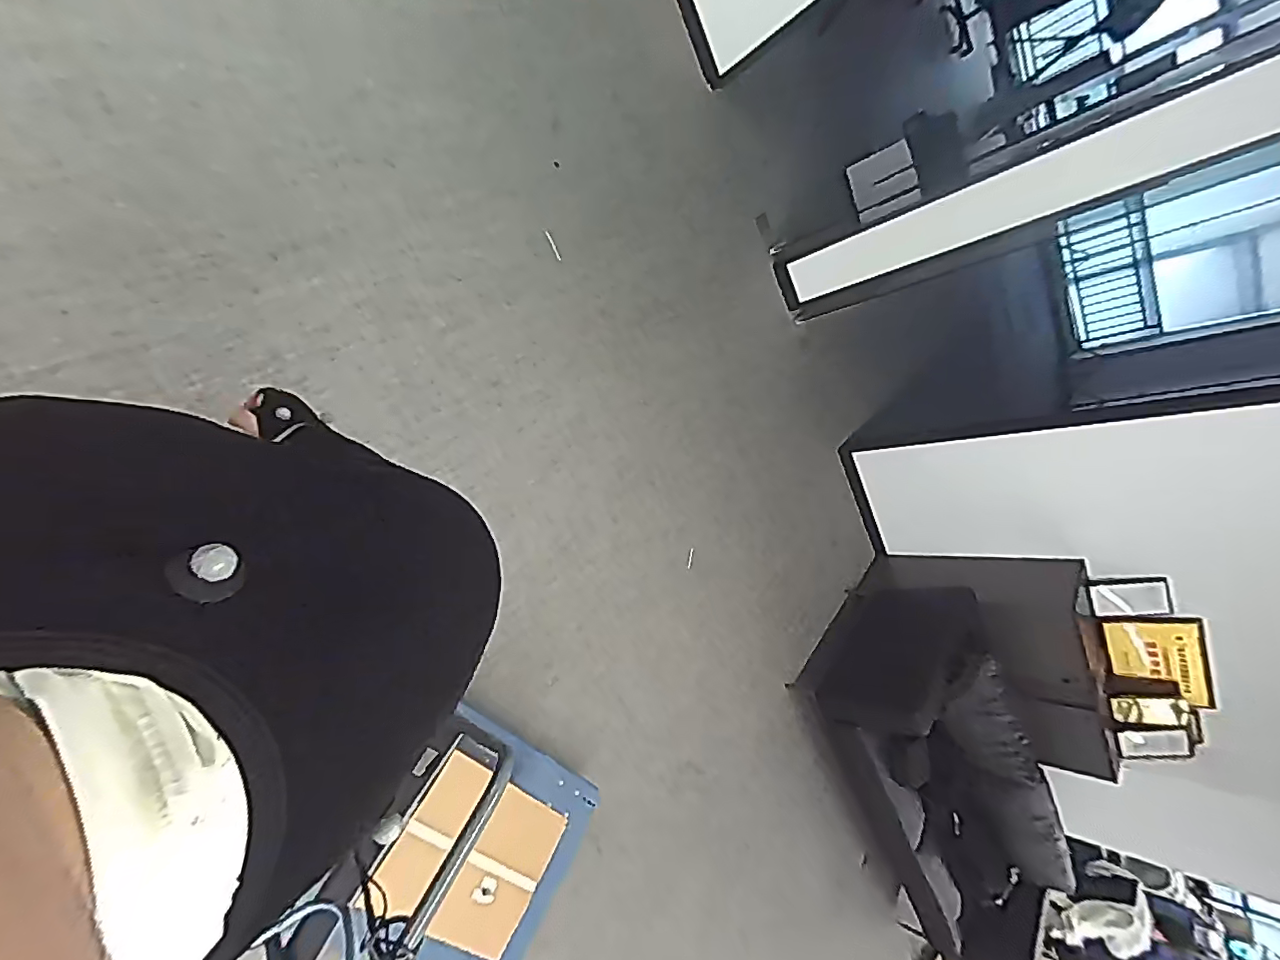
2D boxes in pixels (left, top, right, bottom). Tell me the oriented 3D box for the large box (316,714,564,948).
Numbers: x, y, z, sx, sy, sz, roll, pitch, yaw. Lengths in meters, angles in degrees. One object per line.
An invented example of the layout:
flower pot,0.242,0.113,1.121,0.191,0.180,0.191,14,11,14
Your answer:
large box,-0.476,0.832,1.316,0.408,0.320,0.320,50,56,-28
